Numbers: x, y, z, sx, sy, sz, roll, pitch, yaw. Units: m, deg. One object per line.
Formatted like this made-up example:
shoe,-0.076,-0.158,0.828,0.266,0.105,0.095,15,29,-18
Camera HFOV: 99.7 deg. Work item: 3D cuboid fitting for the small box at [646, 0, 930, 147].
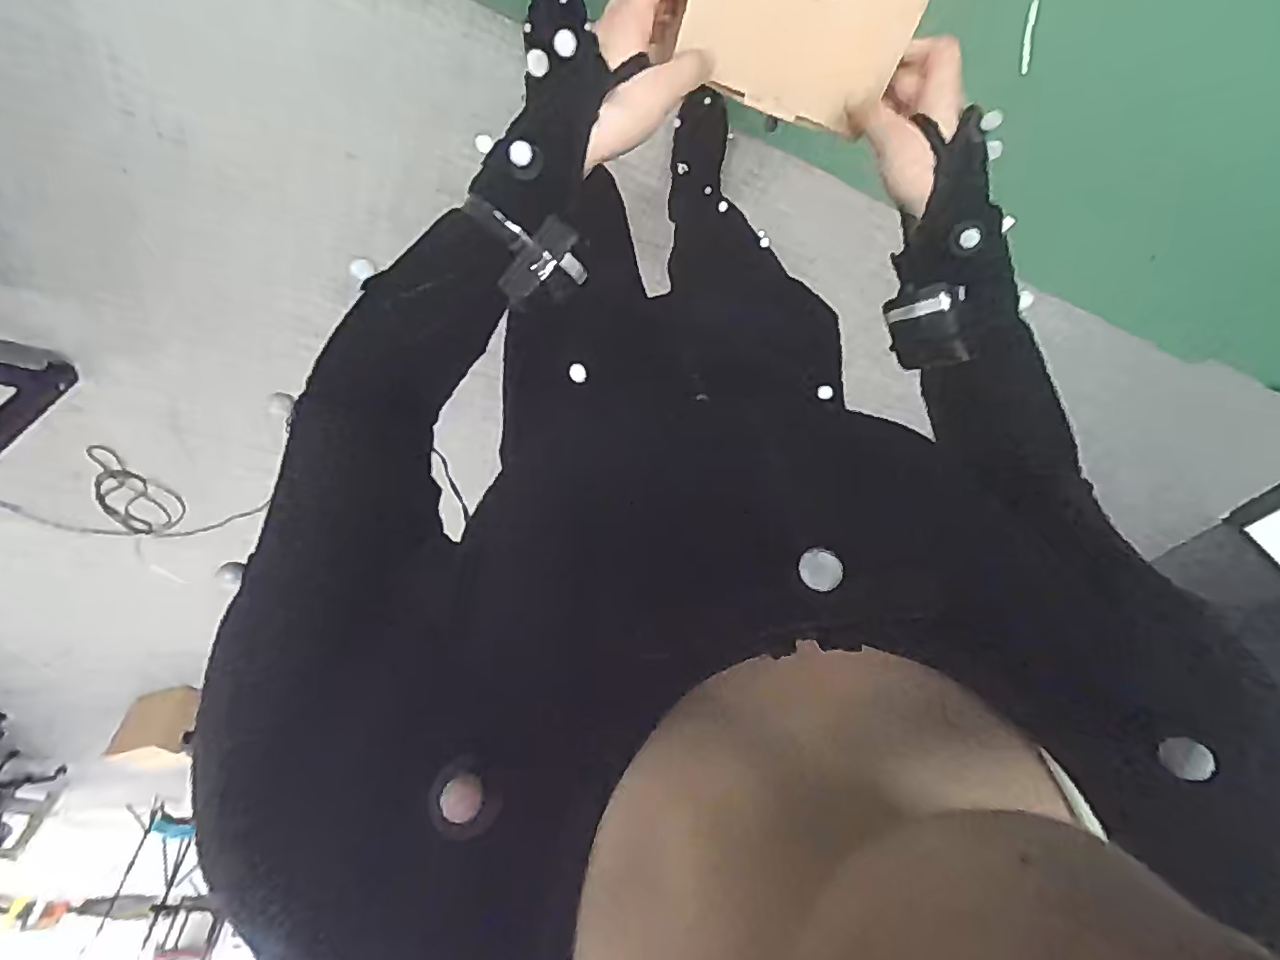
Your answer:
small box,0.110,-0.390,0.416,0.168,0.176,0.179,6,128,-18
